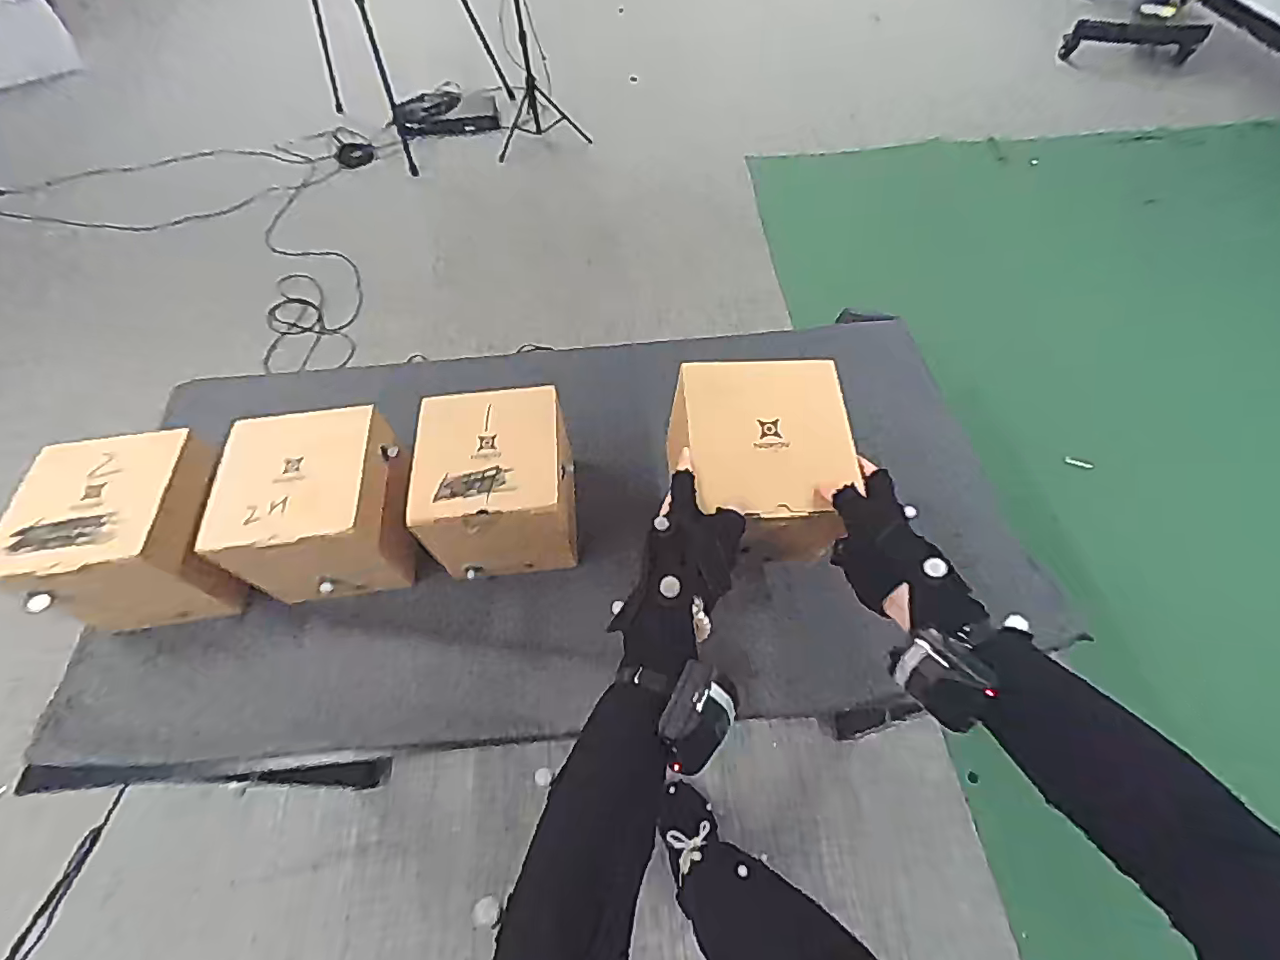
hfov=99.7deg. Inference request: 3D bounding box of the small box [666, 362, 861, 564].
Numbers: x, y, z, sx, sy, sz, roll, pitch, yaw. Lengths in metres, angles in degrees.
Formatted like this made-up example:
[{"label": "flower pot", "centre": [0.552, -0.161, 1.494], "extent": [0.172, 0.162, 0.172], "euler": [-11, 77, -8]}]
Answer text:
[{"label": "small box", "centre": [0.122, -0.014, 0.618], "extent": [0.168, 0.176, 0.179], "euler": [-2, 65, -3]}]
